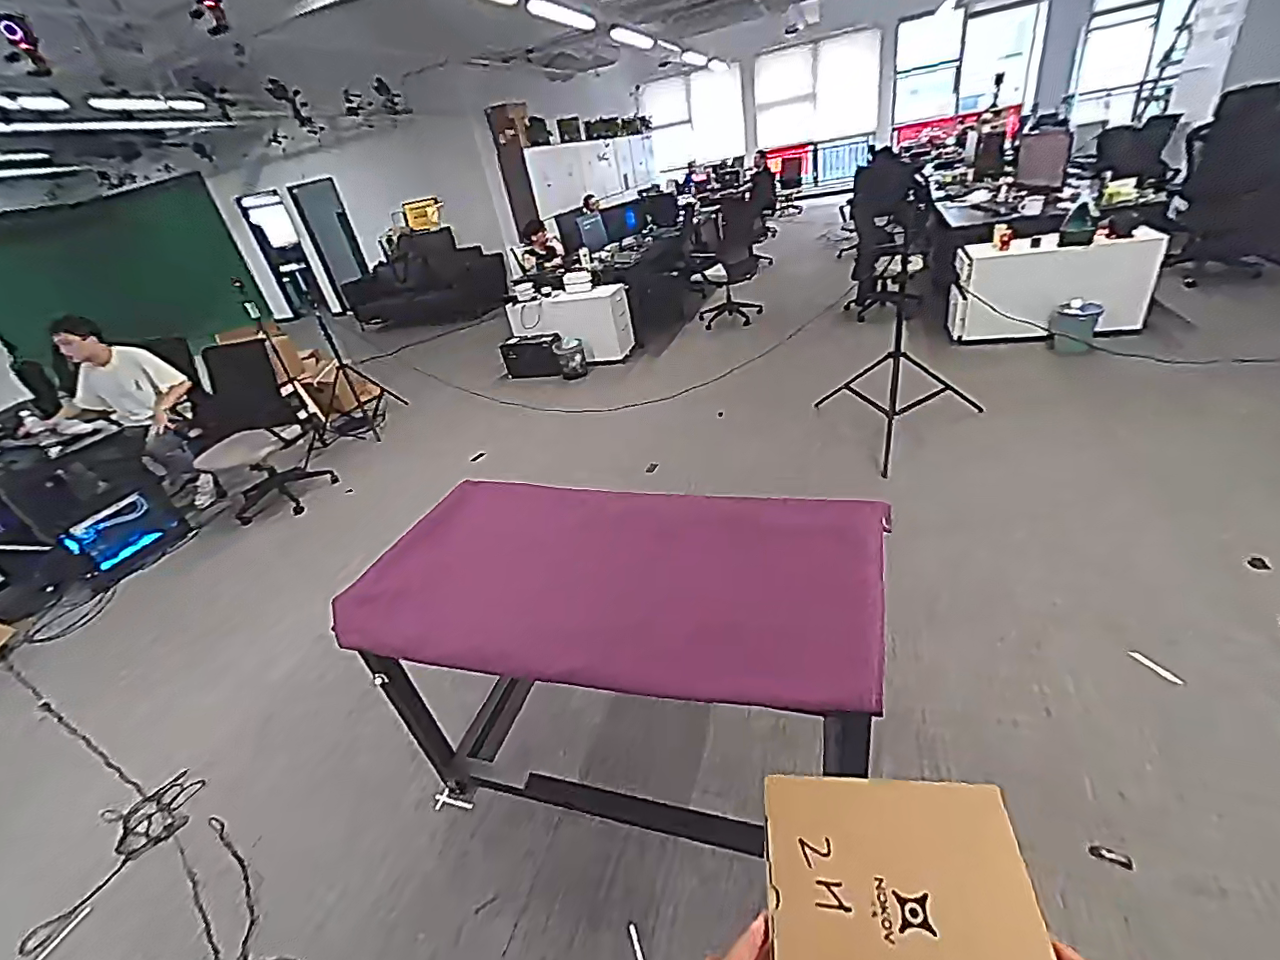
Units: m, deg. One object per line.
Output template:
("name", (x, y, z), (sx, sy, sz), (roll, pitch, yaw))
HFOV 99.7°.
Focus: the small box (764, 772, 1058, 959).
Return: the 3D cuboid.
("small box", (0.190, 0.346, 0.414), (0.179, 0.176, 0.168), (-4, 41, 13))
